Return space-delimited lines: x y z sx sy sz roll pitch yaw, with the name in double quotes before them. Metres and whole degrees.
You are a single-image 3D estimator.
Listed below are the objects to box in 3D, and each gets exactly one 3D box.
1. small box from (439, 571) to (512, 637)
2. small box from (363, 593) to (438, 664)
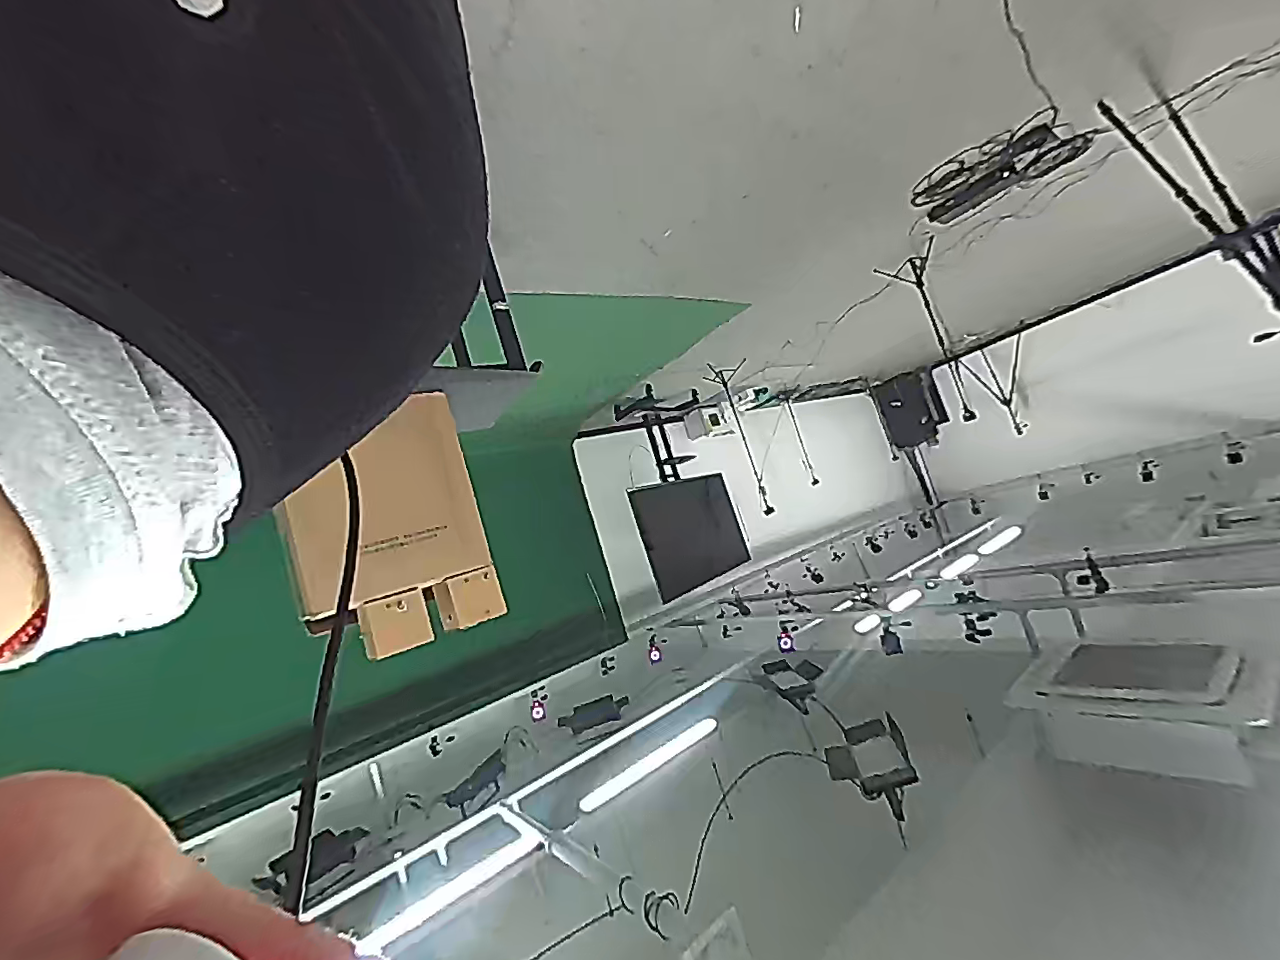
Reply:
"small box" -0.562 0.415 1.826 0.168 0.176 0.179 -14 174 -38
"small box" -0.752 0.460 1.686 0.168 0.176 0.179 -14 172 -36
